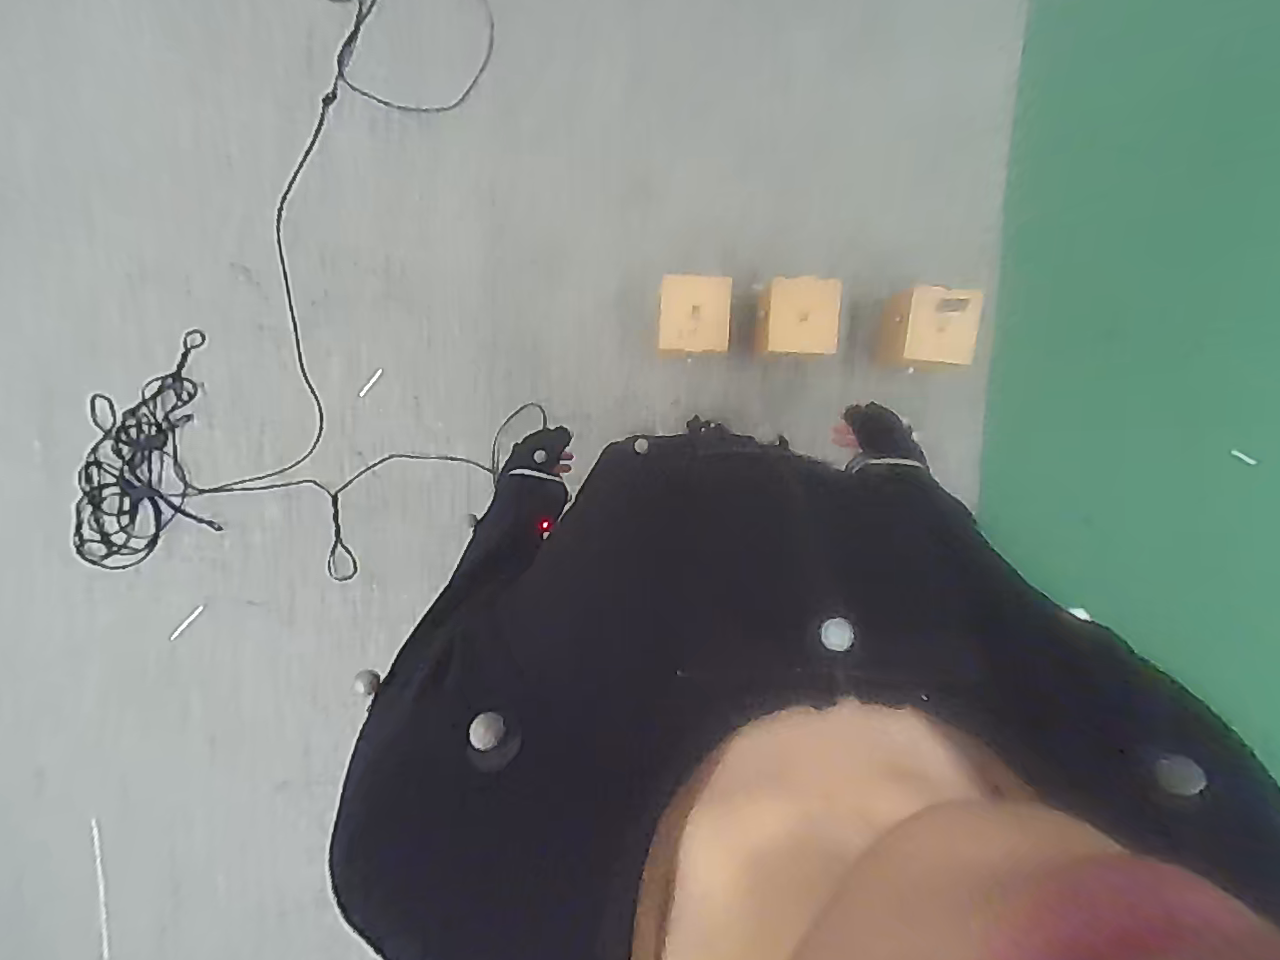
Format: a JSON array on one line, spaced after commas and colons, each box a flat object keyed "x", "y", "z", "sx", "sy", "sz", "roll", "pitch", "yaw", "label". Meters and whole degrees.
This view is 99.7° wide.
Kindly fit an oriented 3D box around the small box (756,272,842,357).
[{"x": 0.389, "y": -0.405, "z": 1.348, "sx": 0.168, "sy": 0.176, "sz": 0.179, "roll": 2, "pitch": 95, "yaw": 0, "label": "small box"}]

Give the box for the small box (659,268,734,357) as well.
[{"x": 0.134, "y": -0.412, "z": 1.349, "sx": 0.168, "sy": 0.176, "sz": 0.179, "roll": 3, "pitch": 96, "yaw": 2, "label": "small box"}]

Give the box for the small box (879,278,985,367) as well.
[{"x": 0.715, "y": -0.383, "z": 1.343, "sx": 0.168, "sy": 0.176, "sz": 0.179, "roll": 6, "pitch": 97, "yaw": 1, "label": "small box"}]
